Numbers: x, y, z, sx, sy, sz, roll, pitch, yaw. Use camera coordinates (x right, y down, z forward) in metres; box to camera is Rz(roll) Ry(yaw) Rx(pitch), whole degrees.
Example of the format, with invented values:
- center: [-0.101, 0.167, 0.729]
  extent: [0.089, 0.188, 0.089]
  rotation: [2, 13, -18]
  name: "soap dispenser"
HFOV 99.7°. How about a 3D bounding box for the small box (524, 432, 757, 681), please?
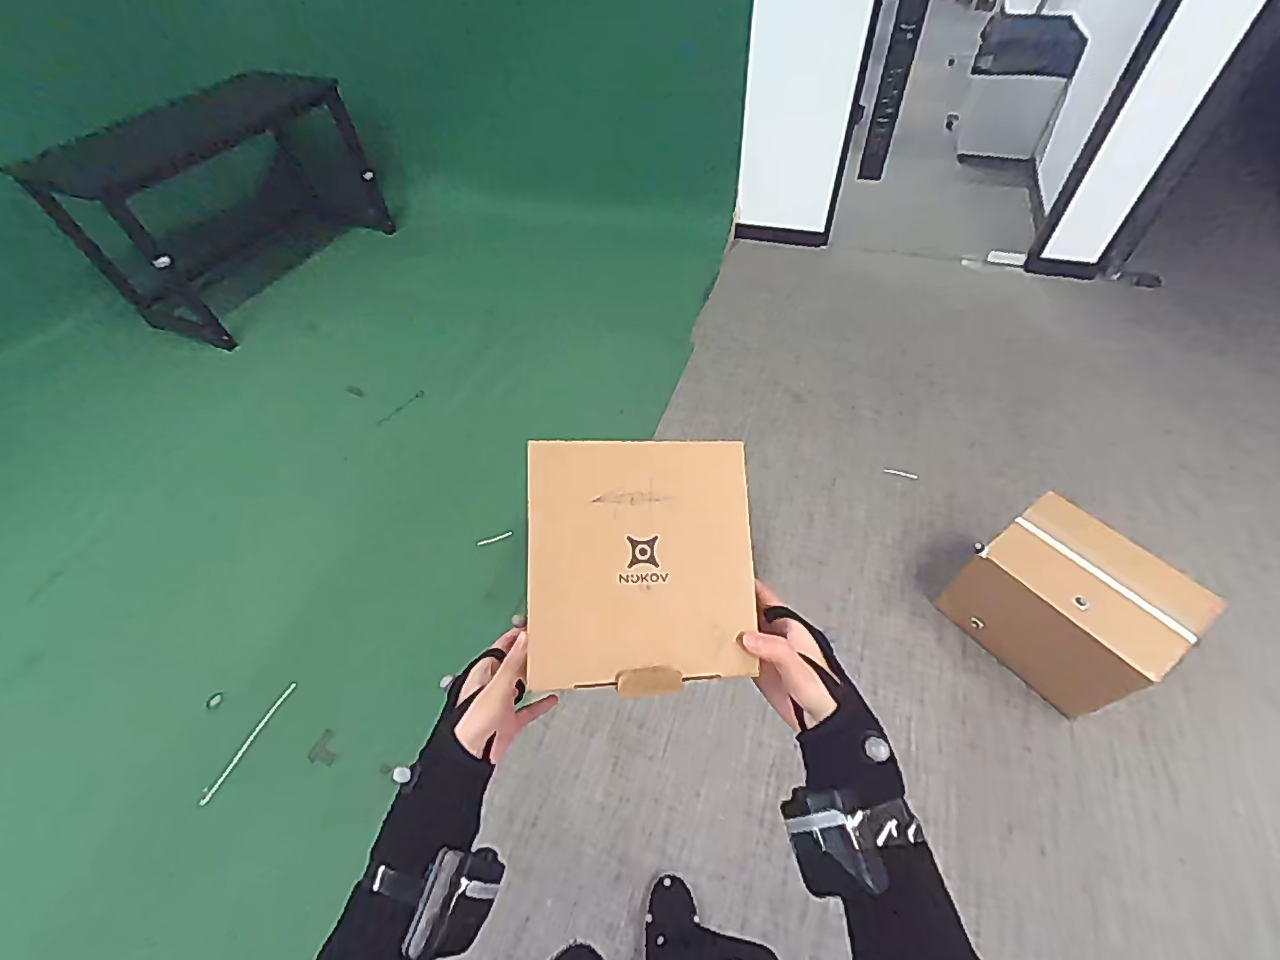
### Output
- center: [-0.010, 0.066, 0.466]
  extent: [0.168, 0.176, 0.179]
  rotation: [0, 77, -10]
  name: "small box"
